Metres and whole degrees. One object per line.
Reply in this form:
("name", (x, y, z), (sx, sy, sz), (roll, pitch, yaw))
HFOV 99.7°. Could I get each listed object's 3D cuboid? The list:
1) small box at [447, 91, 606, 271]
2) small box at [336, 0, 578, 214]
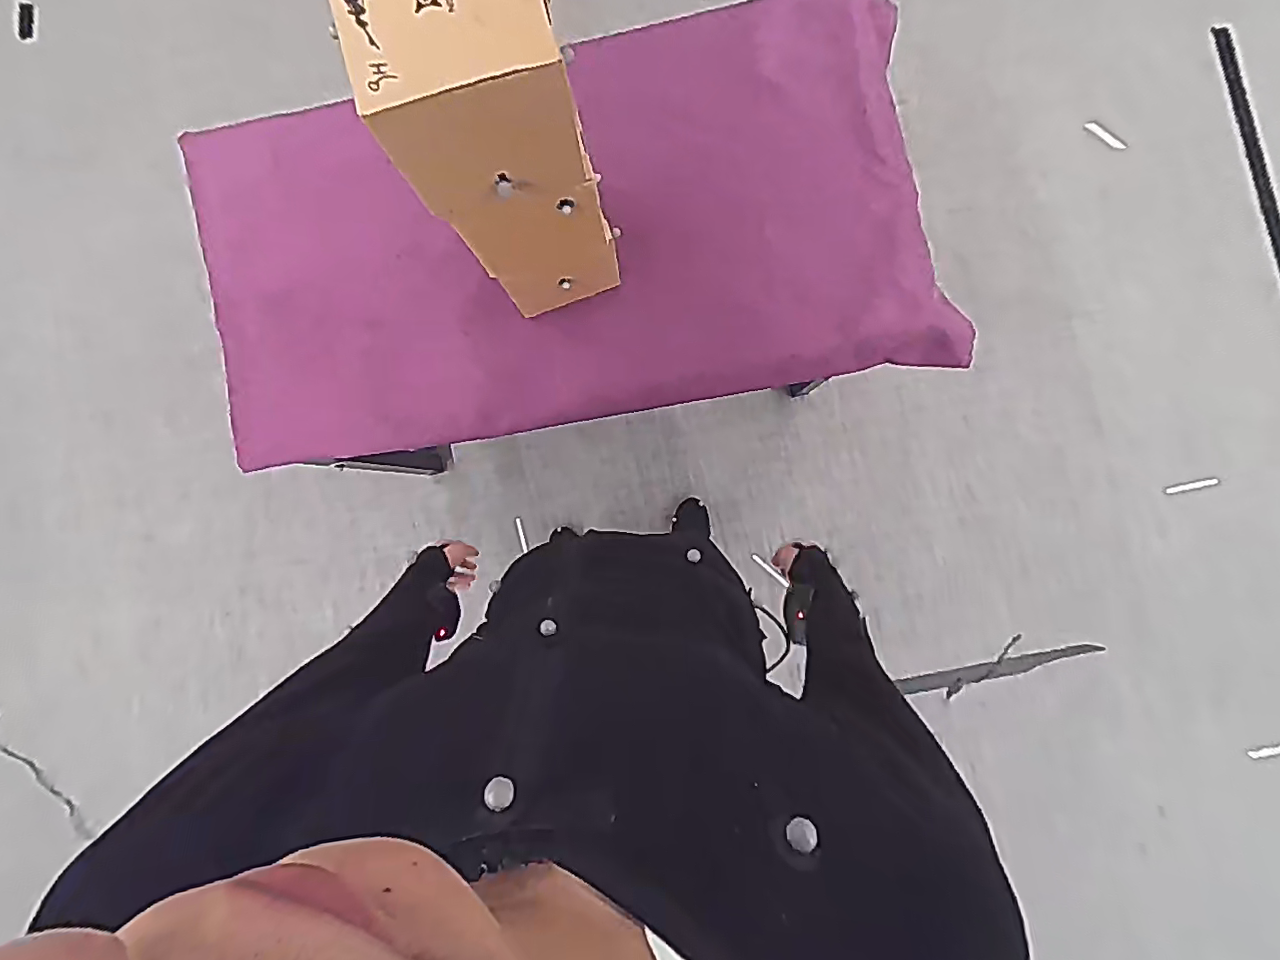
("small box", (-0.152, -0.392, 0.690), (0.179, 0.176, 0.168), (-15, 88, 0))
("small box", (-0.163, -0.394, 0.526), (0.179, 0.176, 0.168), (-15, 87, 0))
